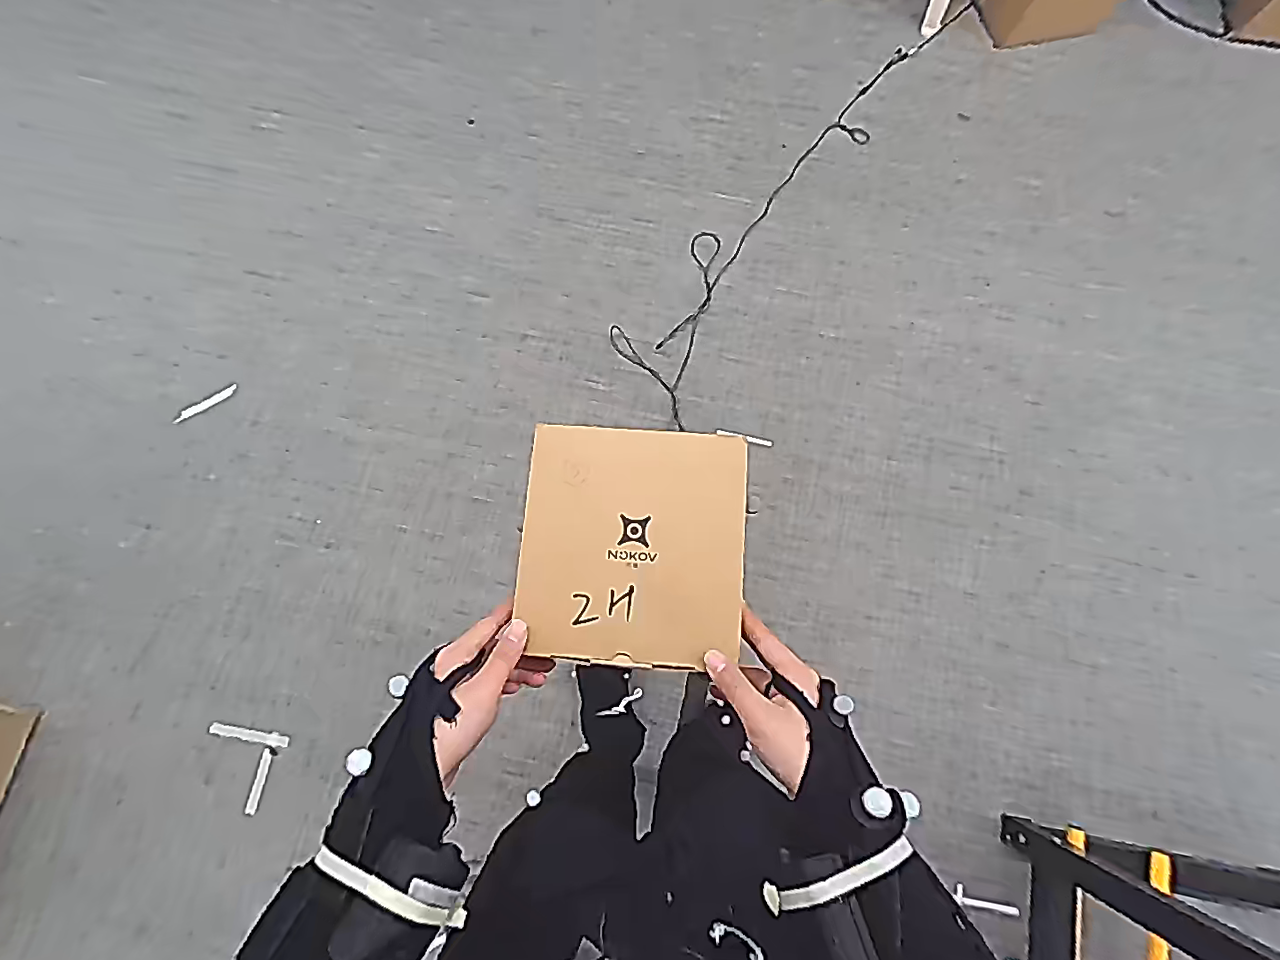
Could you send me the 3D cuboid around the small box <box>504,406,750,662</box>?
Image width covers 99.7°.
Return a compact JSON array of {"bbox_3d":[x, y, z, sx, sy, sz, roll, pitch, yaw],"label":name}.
[{"bbox_3d":[-0.004,0.052,0.470,0.168,0.176,0.179,4,78,4],"label":"small box"}]
